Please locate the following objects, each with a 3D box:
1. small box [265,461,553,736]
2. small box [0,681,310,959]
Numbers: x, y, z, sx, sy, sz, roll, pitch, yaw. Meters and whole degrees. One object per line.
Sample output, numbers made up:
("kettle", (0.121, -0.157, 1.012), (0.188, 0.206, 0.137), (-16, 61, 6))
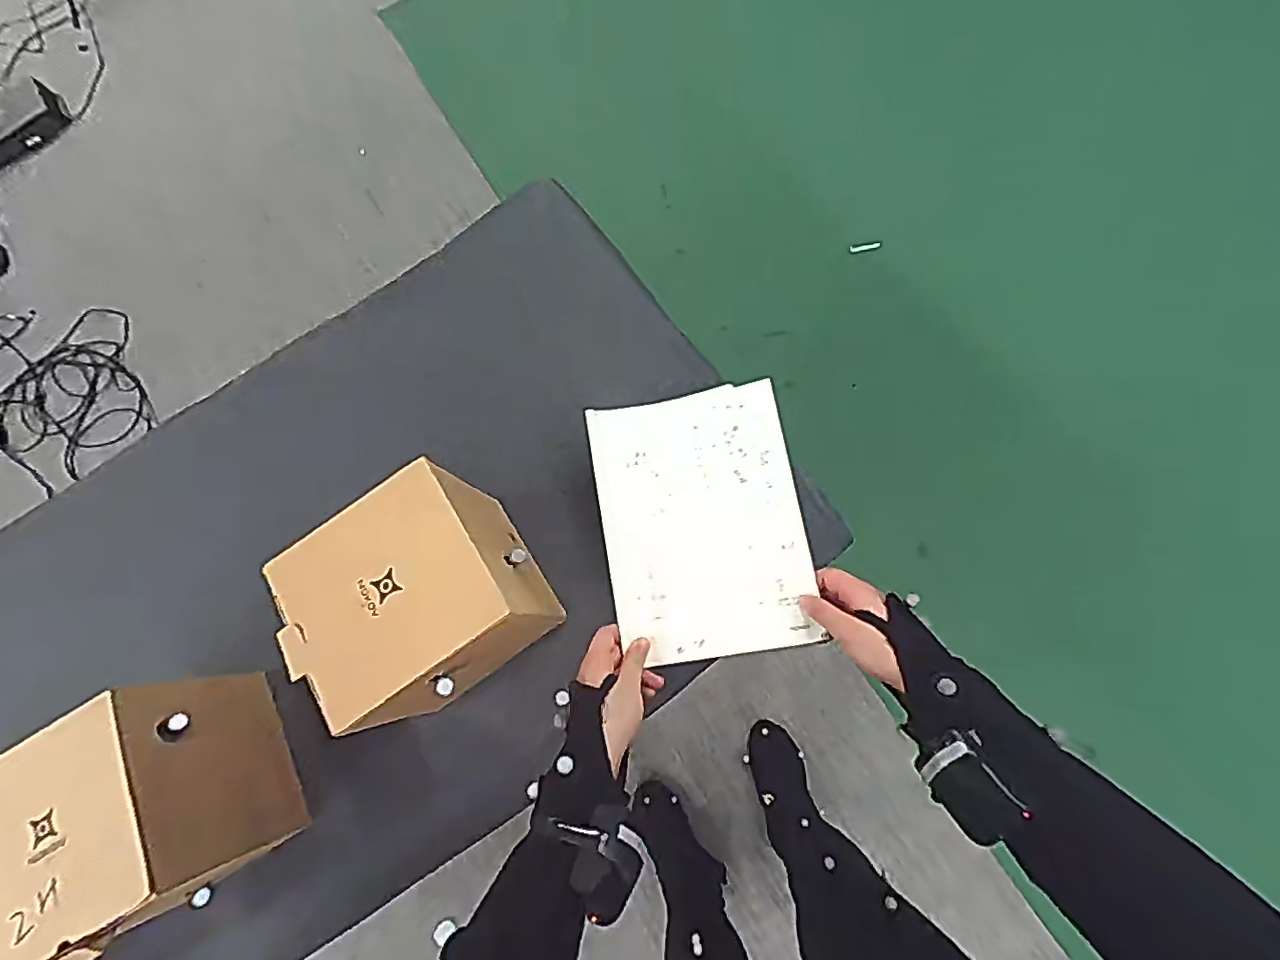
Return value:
("small box", (-0.204, 0.112, 0.531), (0.179, 0.176, 0.168), (-36, 73, 0))
("small box", (-0.468, 0.312, 0.522), (0.168, 0.176, 0.179), (-32, 73, 1))
